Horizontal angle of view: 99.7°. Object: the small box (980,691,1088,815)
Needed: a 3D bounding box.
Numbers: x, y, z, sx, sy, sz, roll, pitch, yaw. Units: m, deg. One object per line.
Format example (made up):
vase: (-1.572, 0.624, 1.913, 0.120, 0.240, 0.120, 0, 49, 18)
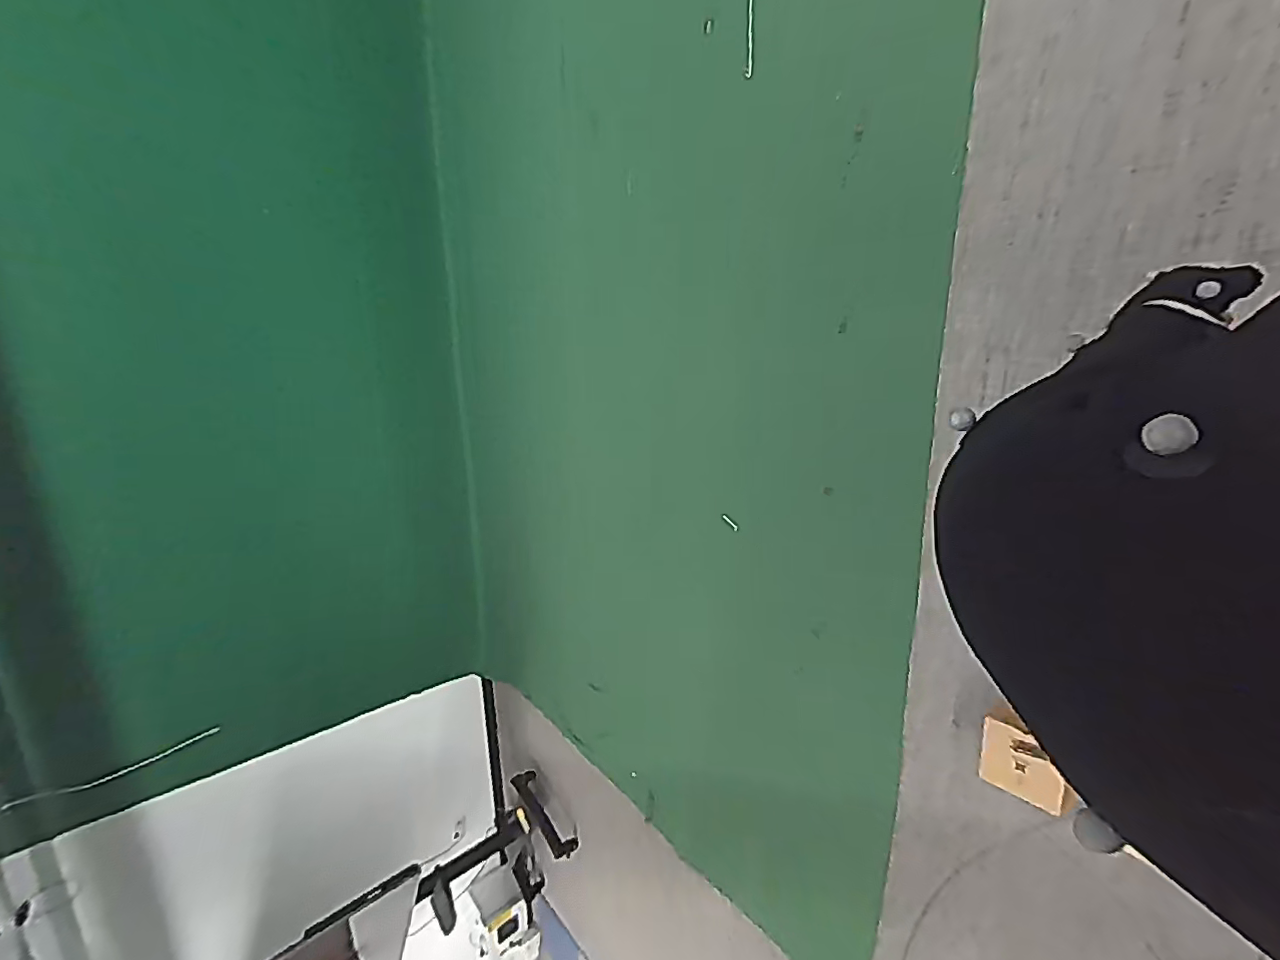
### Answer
small box: (0.945, 0.640, 1.296, 0.168, 0.176, 0.179, 12, 108, 50)
